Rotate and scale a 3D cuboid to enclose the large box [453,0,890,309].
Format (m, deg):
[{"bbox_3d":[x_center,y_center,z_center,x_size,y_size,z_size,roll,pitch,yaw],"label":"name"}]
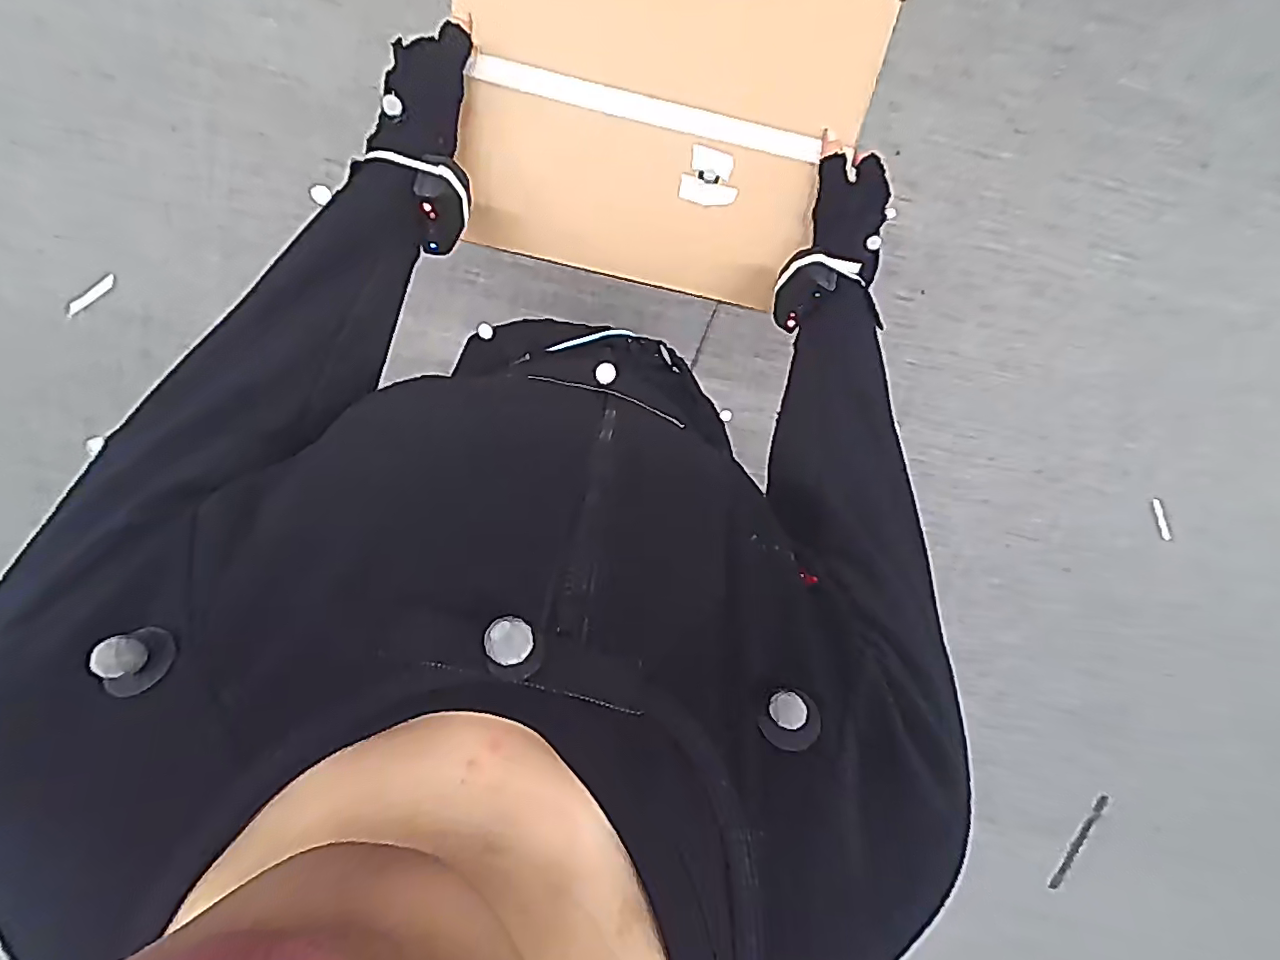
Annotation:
[{"bbox_3d":[0.015,-0.422,0.689,0.408,0.320,0.320,11,111,-5],"label":"large box"}]
